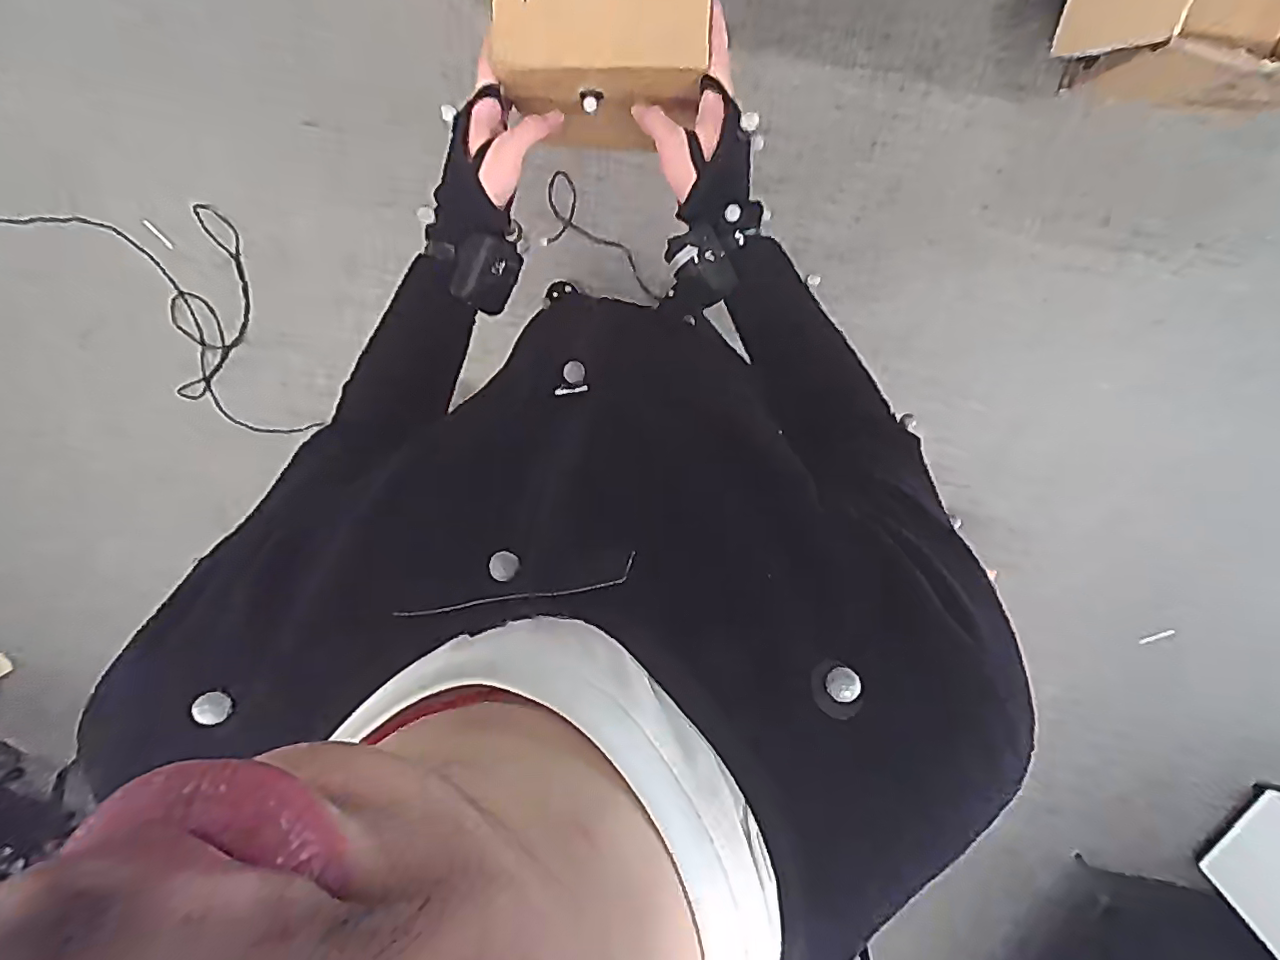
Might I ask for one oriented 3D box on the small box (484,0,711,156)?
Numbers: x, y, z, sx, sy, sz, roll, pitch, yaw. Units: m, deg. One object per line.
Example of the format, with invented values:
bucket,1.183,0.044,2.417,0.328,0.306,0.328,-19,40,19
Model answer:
small box,-0.027,-0.418,0.493,0.179,0.176,0.168,6,103,2
